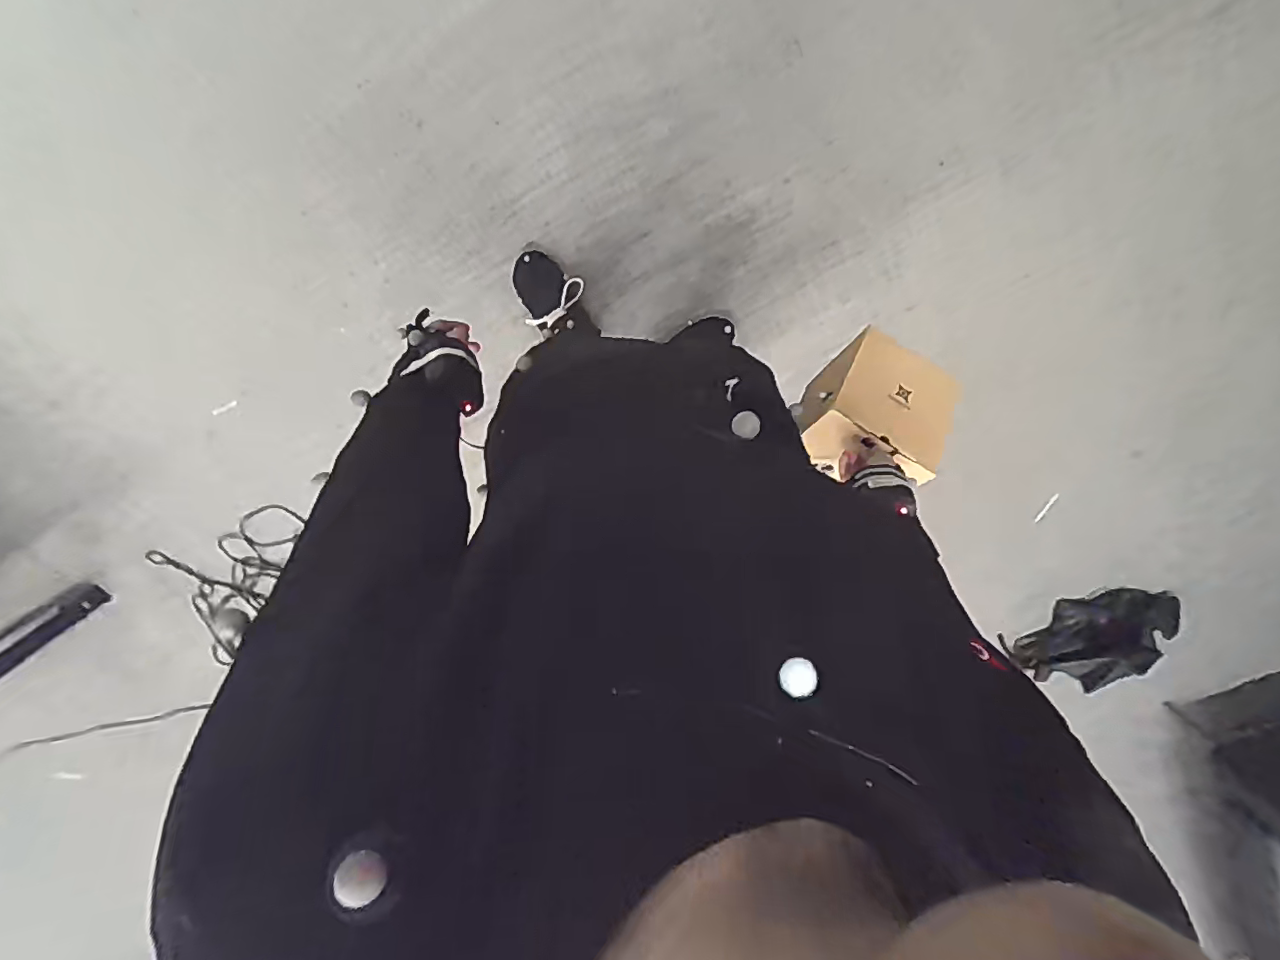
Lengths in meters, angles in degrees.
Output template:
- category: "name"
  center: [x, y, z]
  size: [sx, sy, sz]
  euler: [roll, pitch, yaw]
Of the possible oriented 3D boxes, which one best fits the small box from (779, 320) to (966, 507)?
- category: "small box"
  center: [0.331, -0.089, 0.793]
  size: [0.168, 0.176, 0.179]
  euler: [33, 65, -2]
